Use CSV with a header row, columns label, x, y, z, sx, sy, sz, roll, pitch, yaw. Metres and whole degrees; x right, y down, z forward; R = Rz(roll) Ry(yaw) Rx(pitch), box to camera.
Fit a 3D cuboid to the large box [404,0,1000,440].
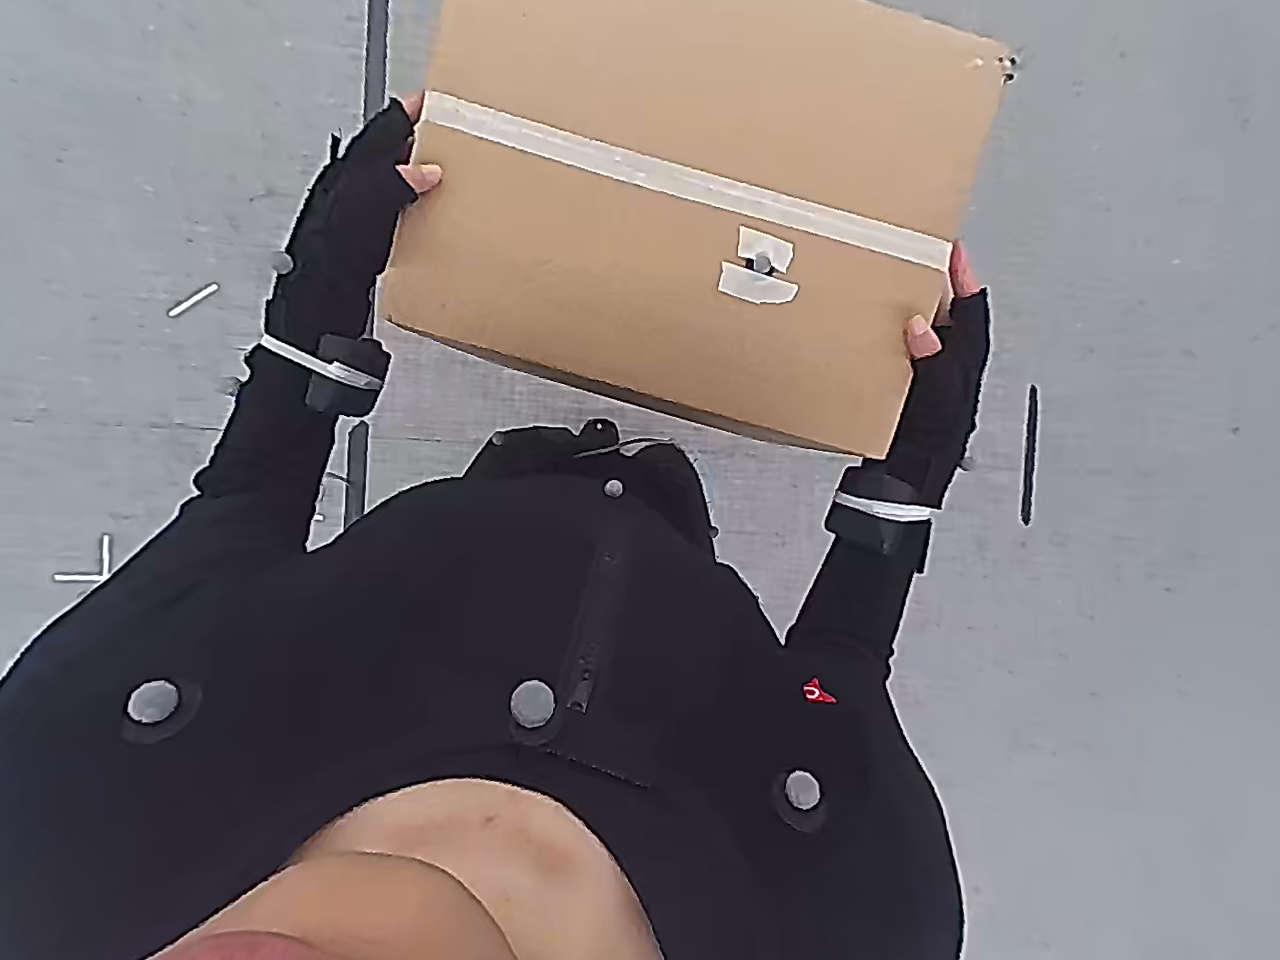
label,x,y,z,sx,sy,sz,roll,pitch,yaw
large box,0.040,-0.244,0.562,0.408,0.320,0.320,16,97,-3
